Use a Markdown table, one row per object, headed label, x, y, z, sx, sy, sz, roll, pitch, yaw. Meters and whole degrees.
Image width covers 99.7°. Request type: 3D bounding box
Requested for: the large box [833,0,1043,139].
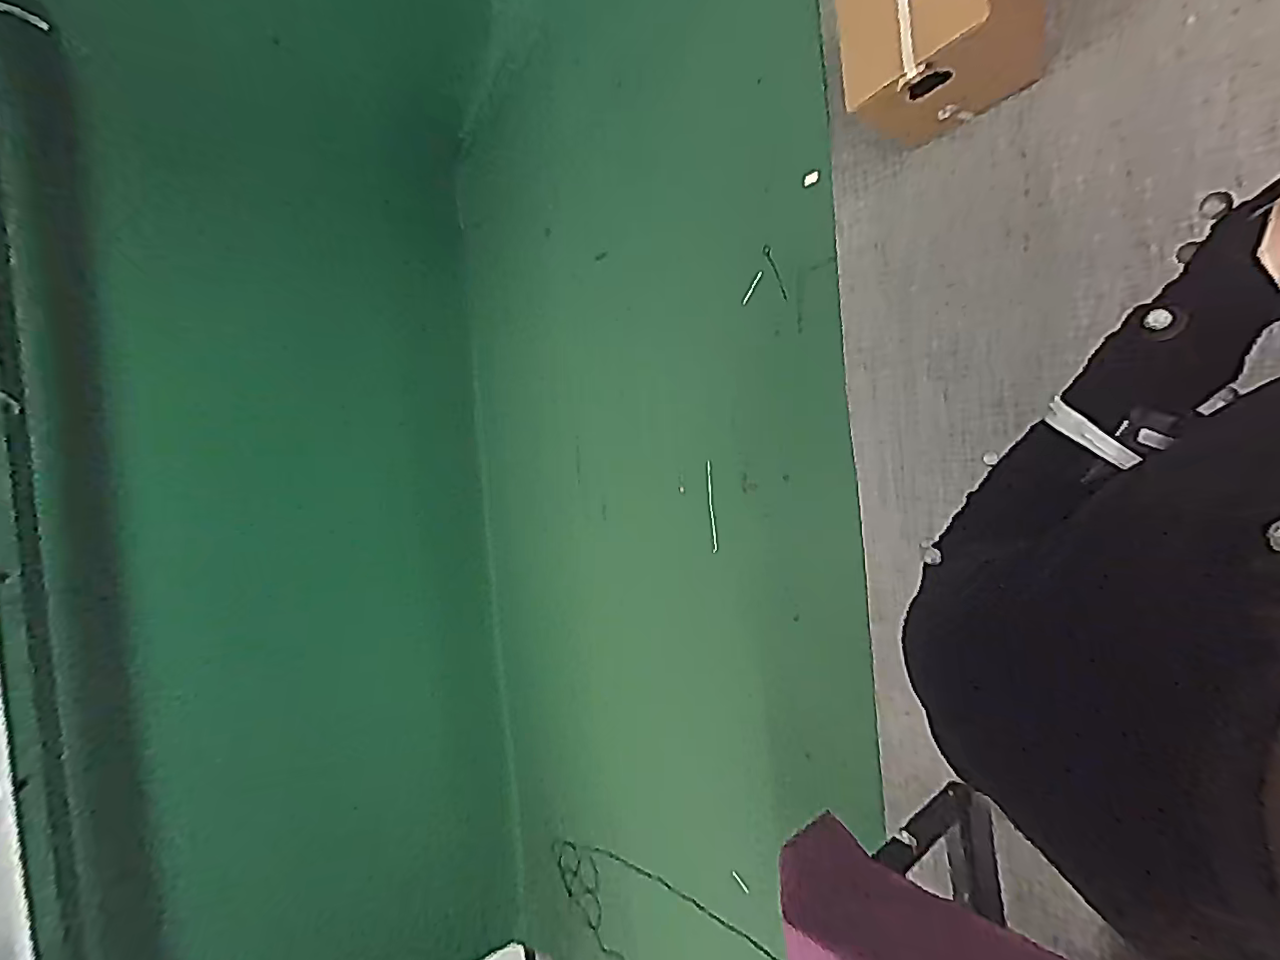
| label | x | y | z | sx | sy | sz | roll | pitch | yaw |
| --- | --- | --- | --- | --- | --- | --- | --- | --- | --- |
| large box | 0.675 | -1.106 | 1.248 | 0.320 | 0.320 | 0.408 | -6 | 90 | 54 |
